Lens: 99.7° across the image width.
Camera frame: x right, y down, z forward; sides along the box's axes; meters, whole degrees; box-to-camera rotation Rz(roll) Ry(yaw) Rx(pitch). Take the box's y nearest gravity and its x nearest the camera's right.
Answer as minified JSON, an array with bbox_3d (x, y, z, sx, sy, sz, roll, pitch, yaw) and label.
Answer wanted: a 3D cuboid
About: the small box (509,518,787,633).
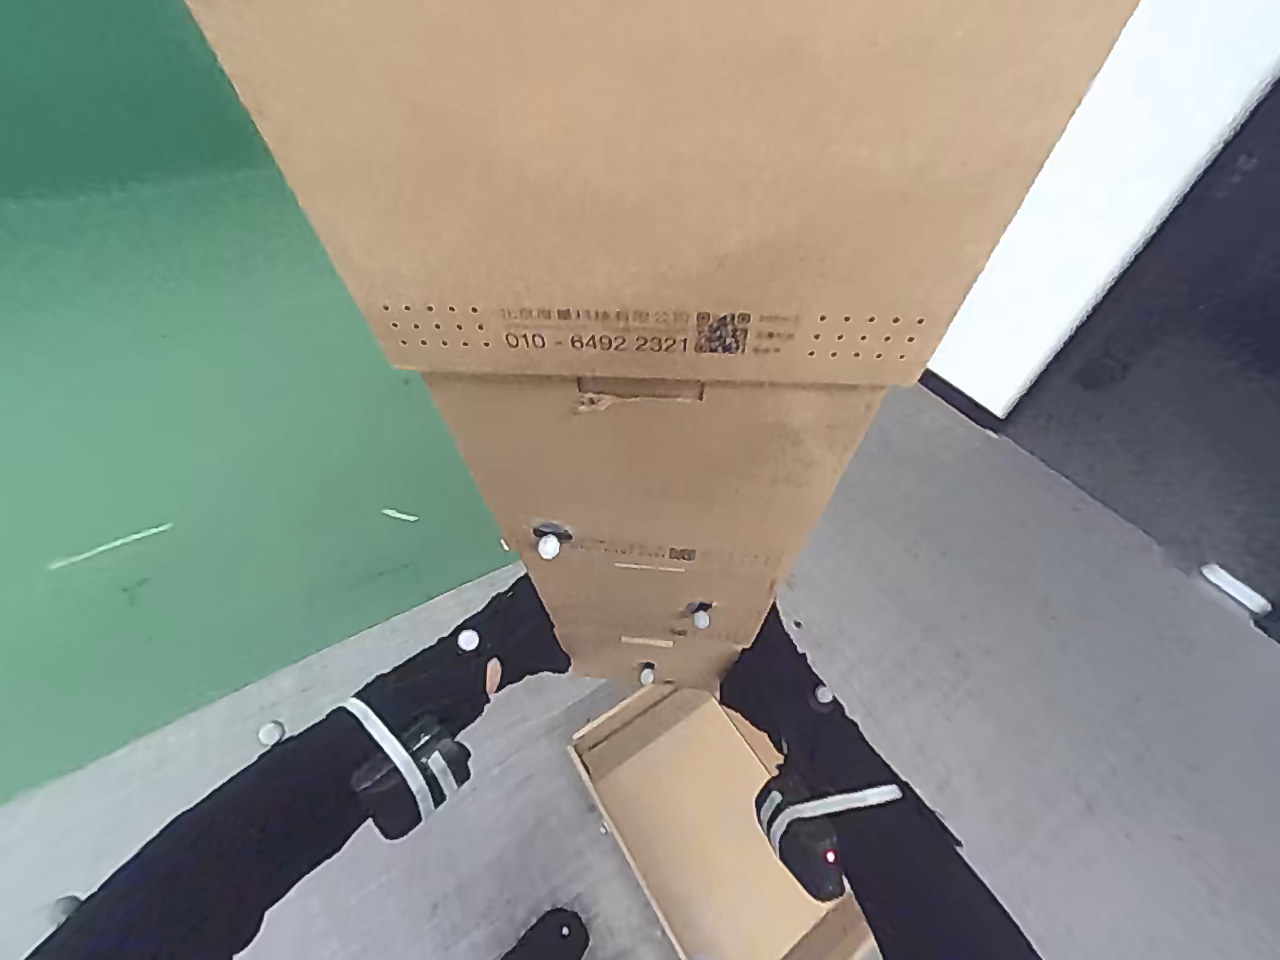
[{"bbox_3d":[0.014,0.007,0.417,0.168,0.176,0.179,4,57,4],"label":"small box"}]

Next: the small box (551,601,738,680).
[{"bbox_3d":[0.011,0.105,0.571,0.168,0.176,0.179,1,57,3],"label":"small box"}]
